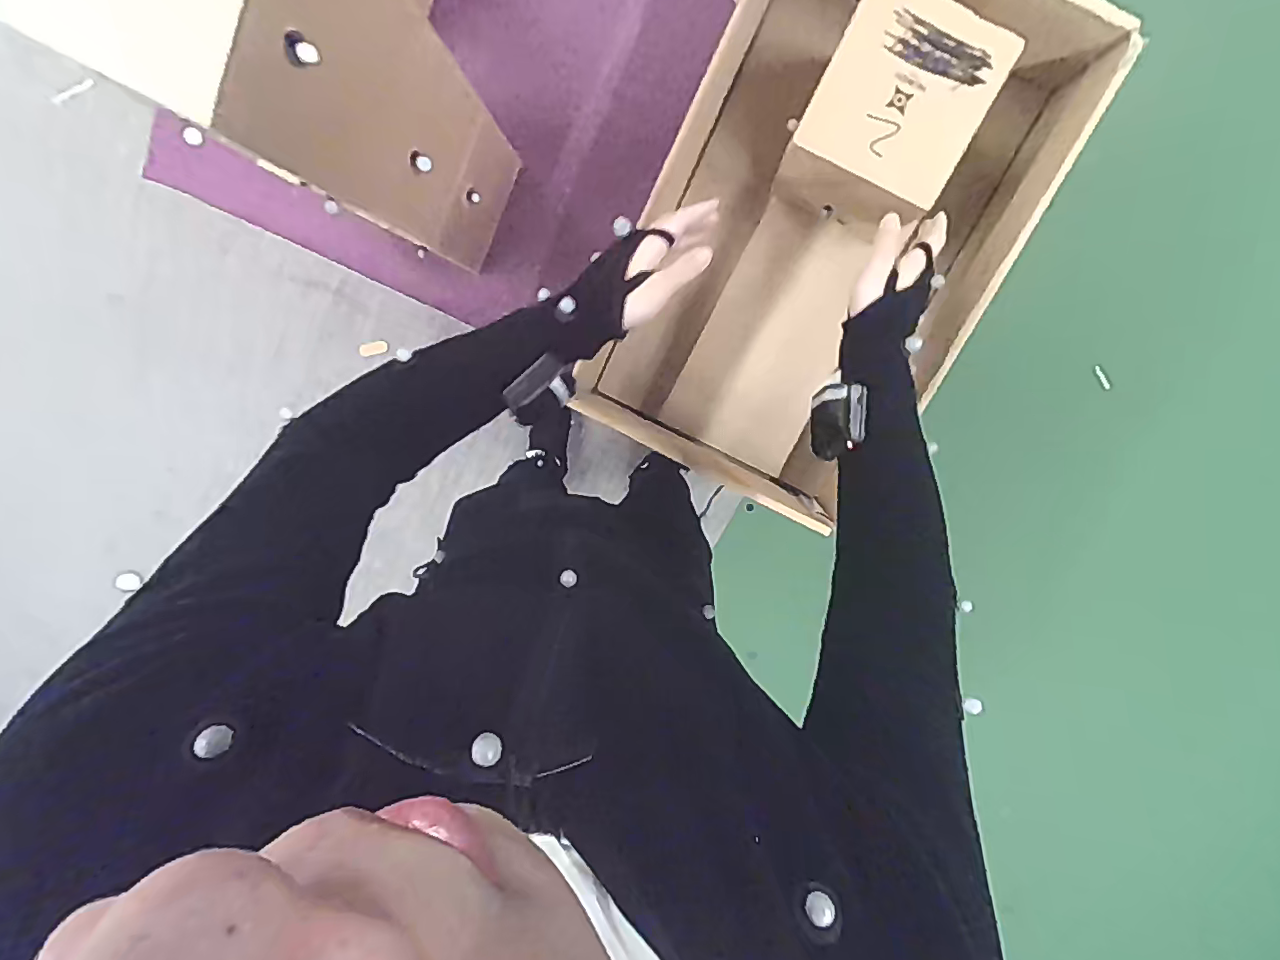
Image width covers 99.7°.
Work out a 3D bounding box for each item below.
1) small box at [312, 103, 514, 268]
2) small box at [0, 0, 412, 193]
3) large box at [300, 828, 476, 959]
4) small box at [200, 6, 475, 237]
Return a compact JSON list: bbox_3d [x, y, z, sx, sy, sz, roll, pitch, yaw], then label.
[{"bbox_3d":[-0.288,-0.410,0.722,0.168,0.176,0.179,26,100,-2],"label":"small box"},{"bbox_3d":[-0.300,-0.350,0.399,0.168,0.176,0.179,28,100,-3],"label":"small box"},{"bbox_3d":[-0.807,1.411,1.785,0.408,0.320,0.320,-6,101,4],"label":"large box"},{"bbox_3d":[-0.295,-0.382,0.561,0.168,0.176,0.179,26,101,-3],"label":"small box"}]
